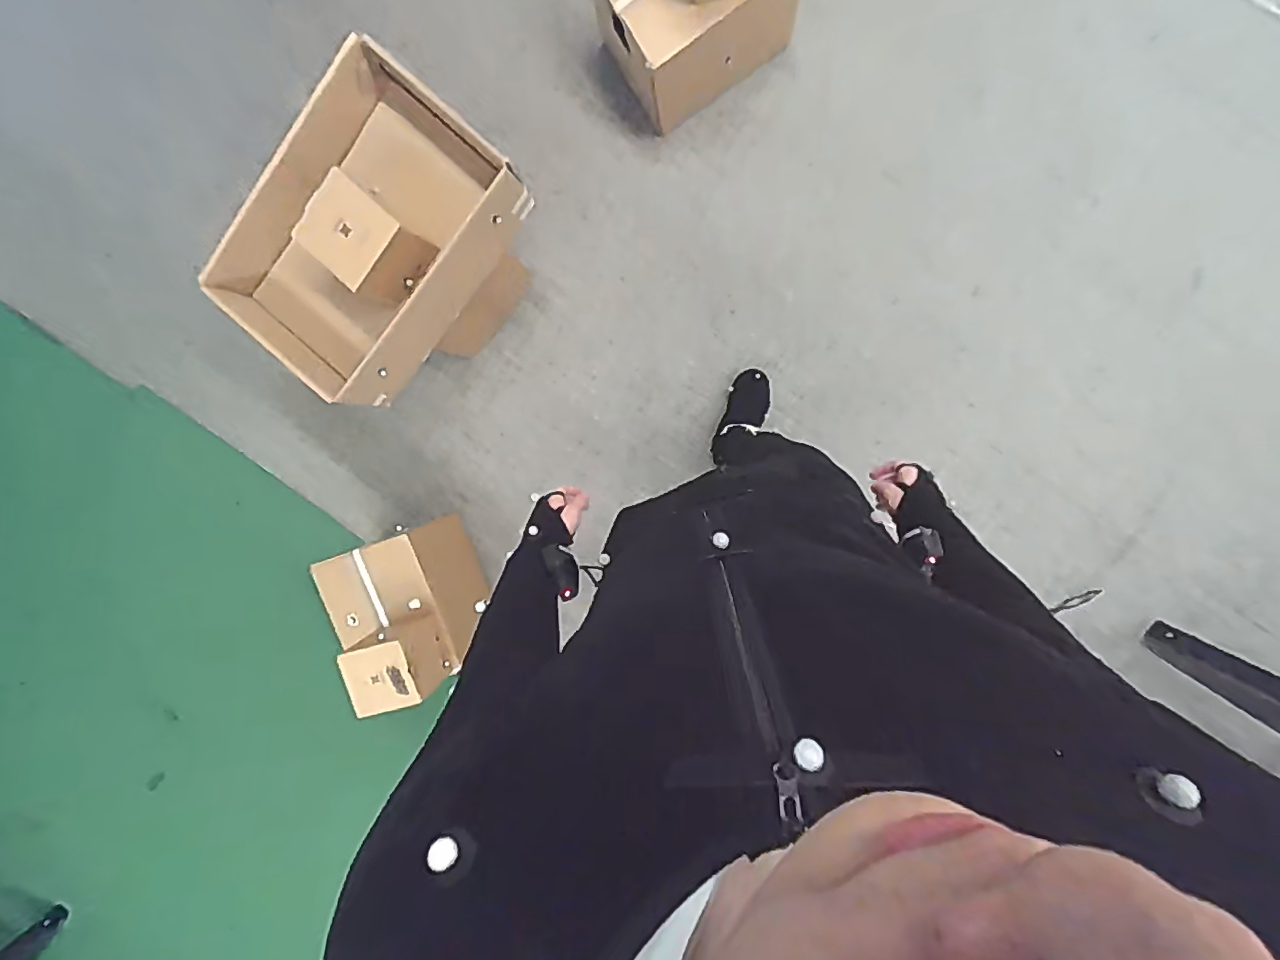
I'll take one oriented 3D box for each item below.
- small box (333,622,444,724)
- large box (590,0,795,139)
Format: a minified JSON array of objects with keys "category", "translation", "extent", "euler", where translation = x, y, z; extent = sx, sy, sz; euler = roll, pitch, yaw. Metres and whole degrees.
[{"category":"small box","translation":[-0.614,0.473,1.352],"extent":[0.179,0.176,0.168],"euler":[-16,94,8]},{"category":"large box","translation":[0.128,-1.155,1.322],"extent":[0.408,0.320,0.320],"euler":[-32,92,10]}]
